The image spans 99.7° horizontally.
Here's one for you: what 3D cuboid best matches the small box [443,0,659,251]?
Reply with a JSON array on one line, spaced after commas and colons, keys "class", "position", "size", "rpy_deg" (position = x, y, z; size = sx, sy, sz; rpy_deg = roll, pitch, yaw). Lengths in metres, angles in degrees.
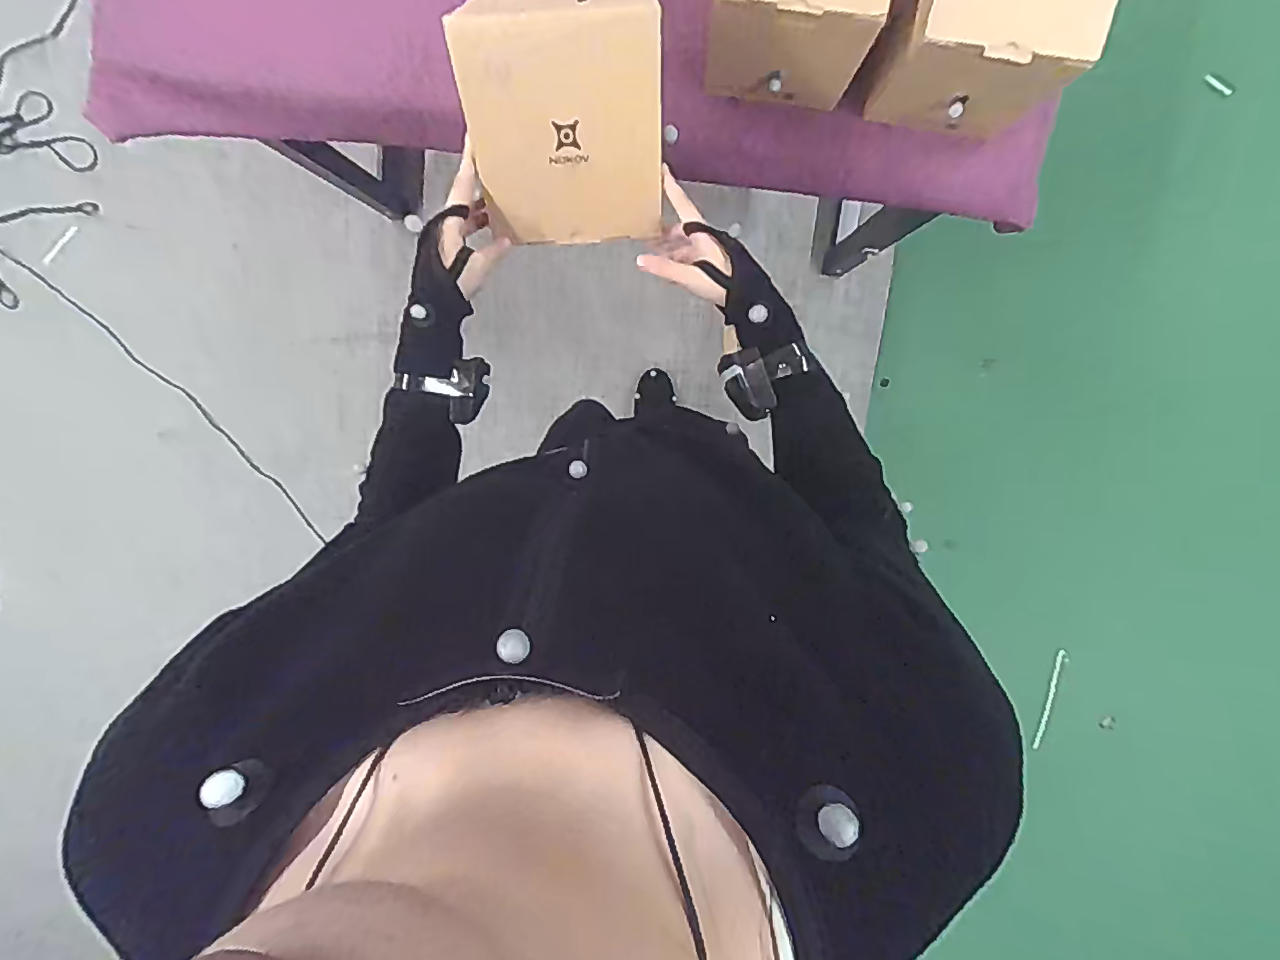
[{"class": "small box", "position": [-0.071, -0.346, 0.518], "size": [0.168, 0.176, 0.179], "rpy_deg": [-3, 139, 0]}]
